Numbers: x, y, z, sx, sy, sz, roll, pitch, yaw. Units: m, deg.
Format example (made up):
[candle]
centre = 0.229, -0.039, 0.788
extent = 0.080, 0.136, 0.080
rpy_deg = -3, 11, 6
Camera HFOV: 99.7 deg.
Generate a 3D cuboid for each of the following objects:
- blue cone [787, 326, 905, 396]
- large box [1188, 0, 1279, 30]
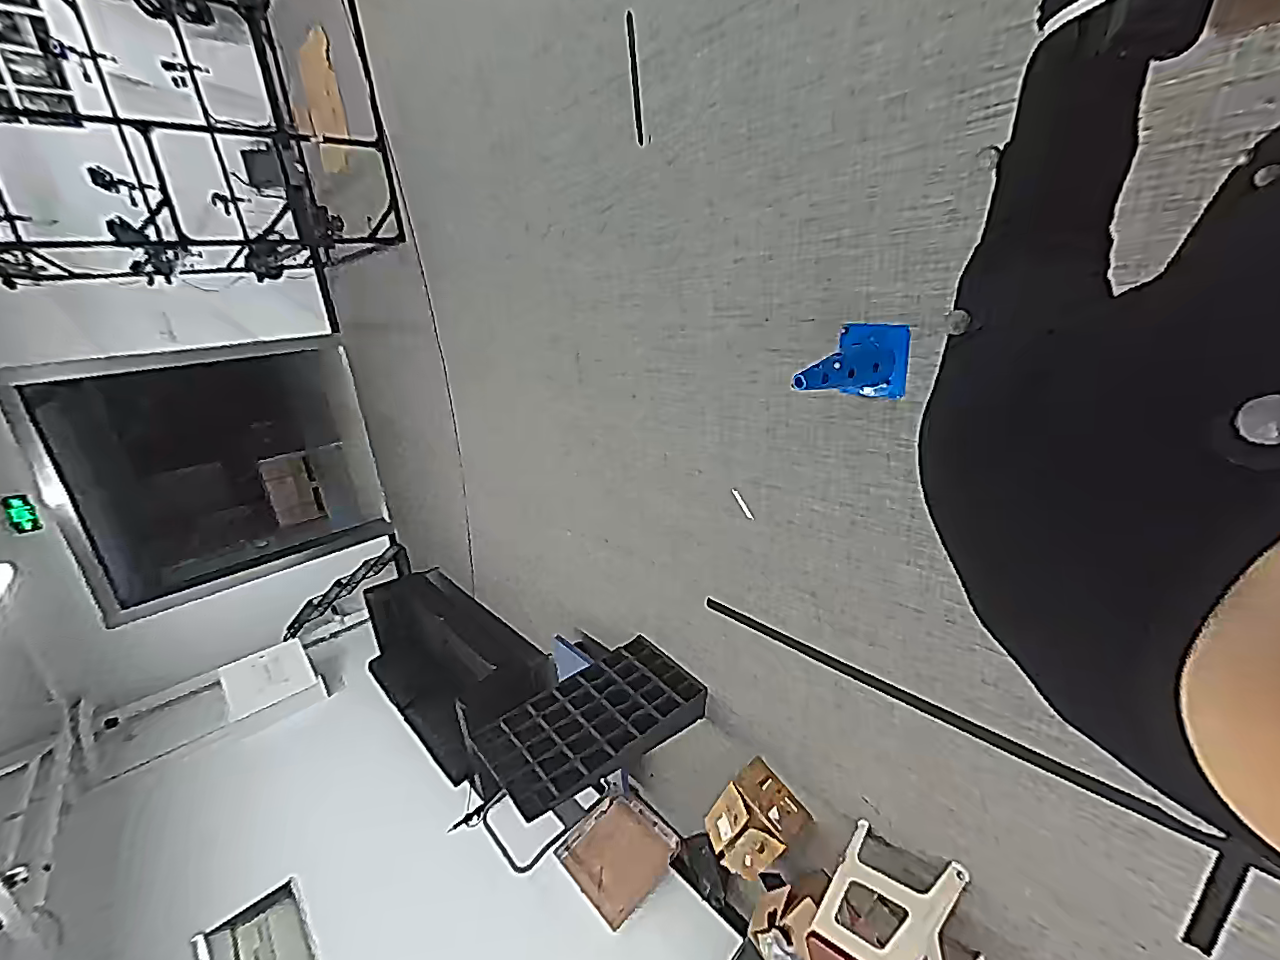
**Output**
[blue cone]
centre = 0.525, -0.293, 1.434
extent = 0.192, 0.380, 0.193
rpy_deg = 22, 123, 46
[large box]
centre = 0.548, -0.490, 0.242
extent = 0.408, 0.320, 0.320
rpy_deg = 14, 122, 47
